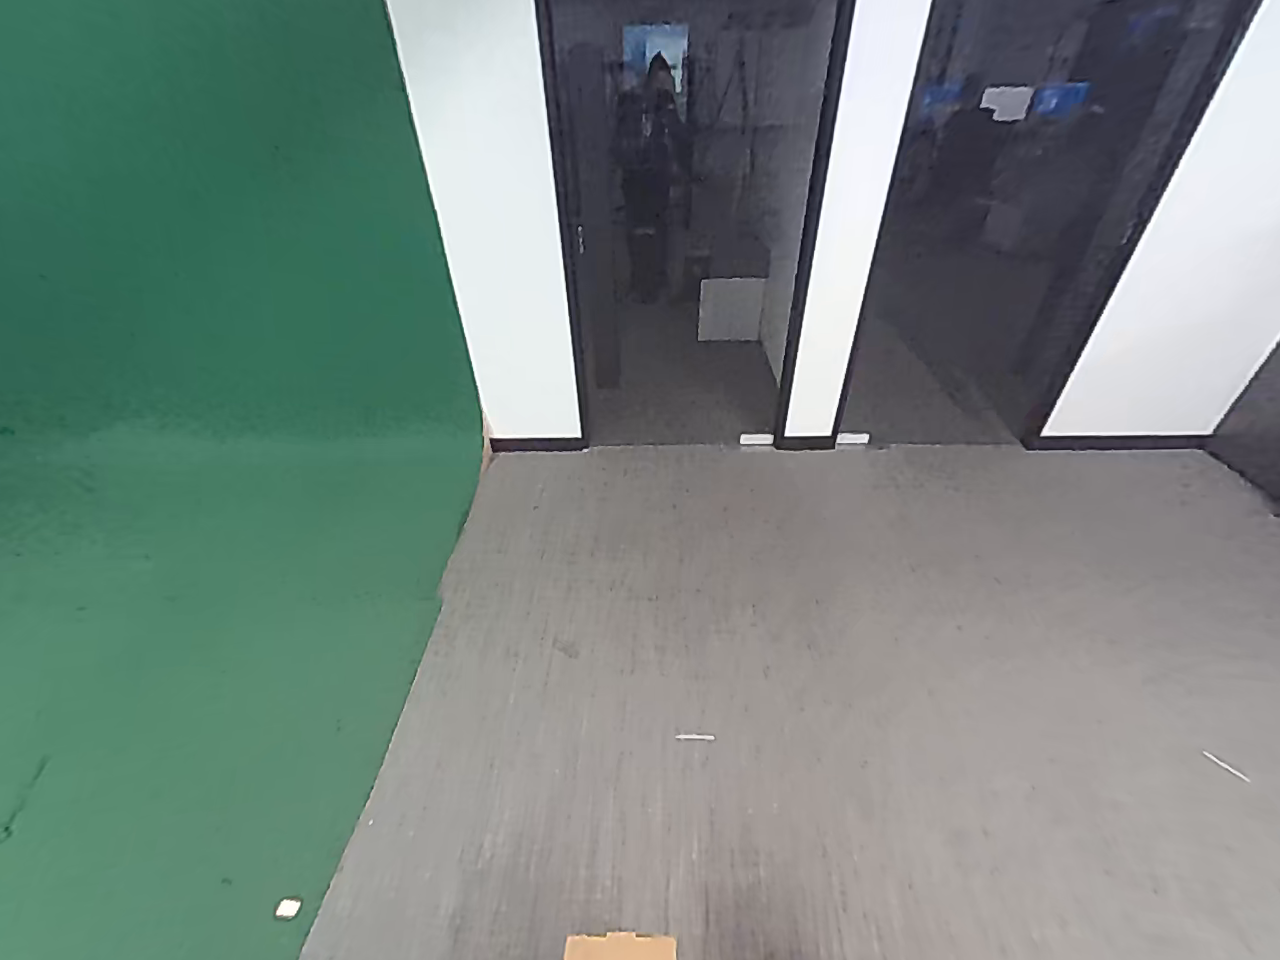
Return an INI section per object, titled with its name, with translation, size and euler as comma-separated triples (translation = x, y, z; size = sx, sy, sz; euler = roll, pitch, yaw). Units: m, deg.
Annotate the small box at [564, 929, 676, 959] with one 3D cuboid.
[small box]
translation = -0.028, 0.794, 0.795
size = 0.168, 0.176, 0.179
euler = -2, 39, 2
